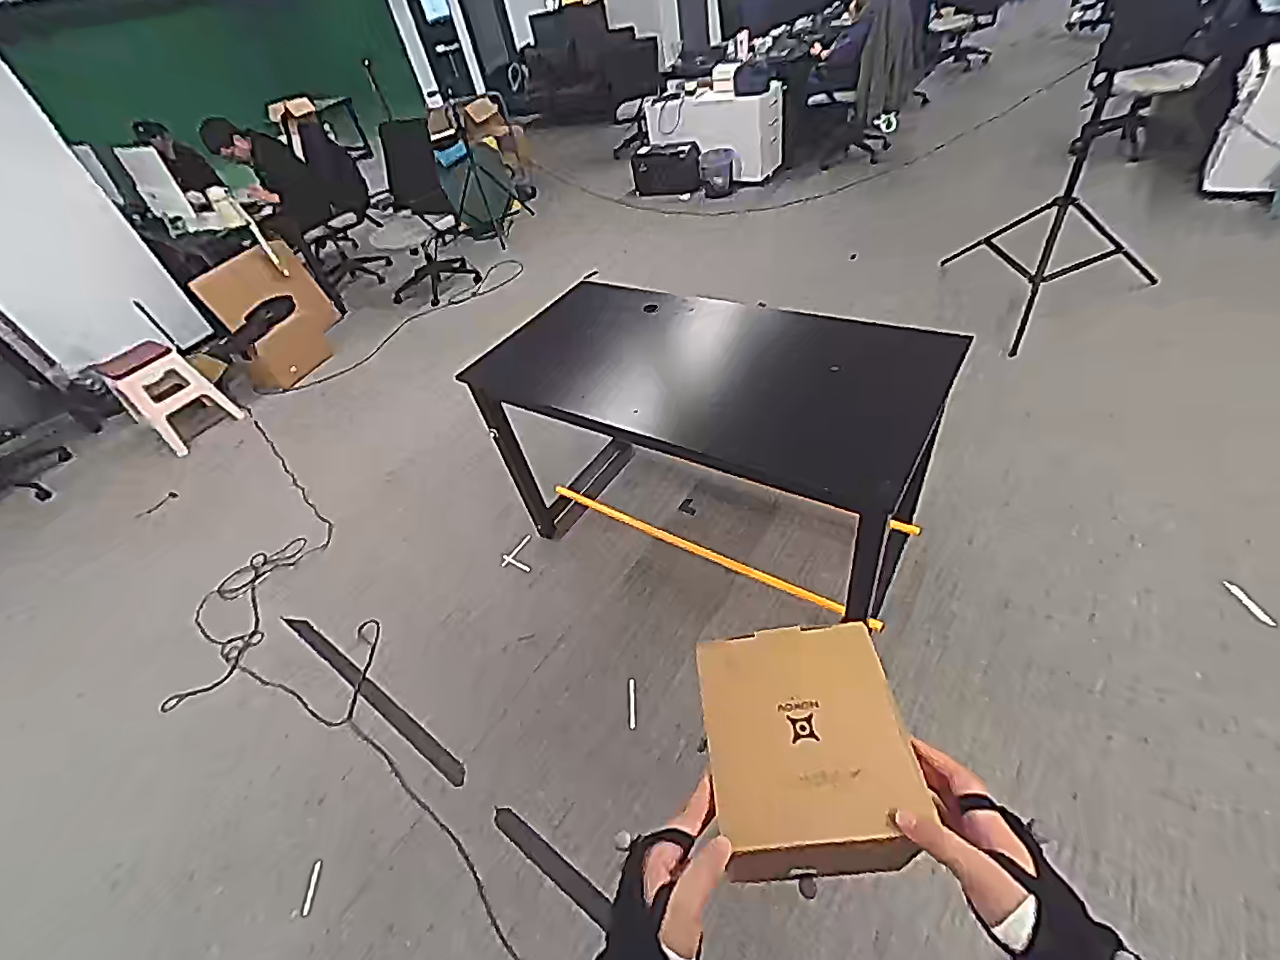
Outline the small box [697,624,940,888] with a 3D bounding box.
[{"bbox_3d":[0.149,0.265,0.519,0.168,0.176,0.179,-9,45,4],"label":"small box"}]
